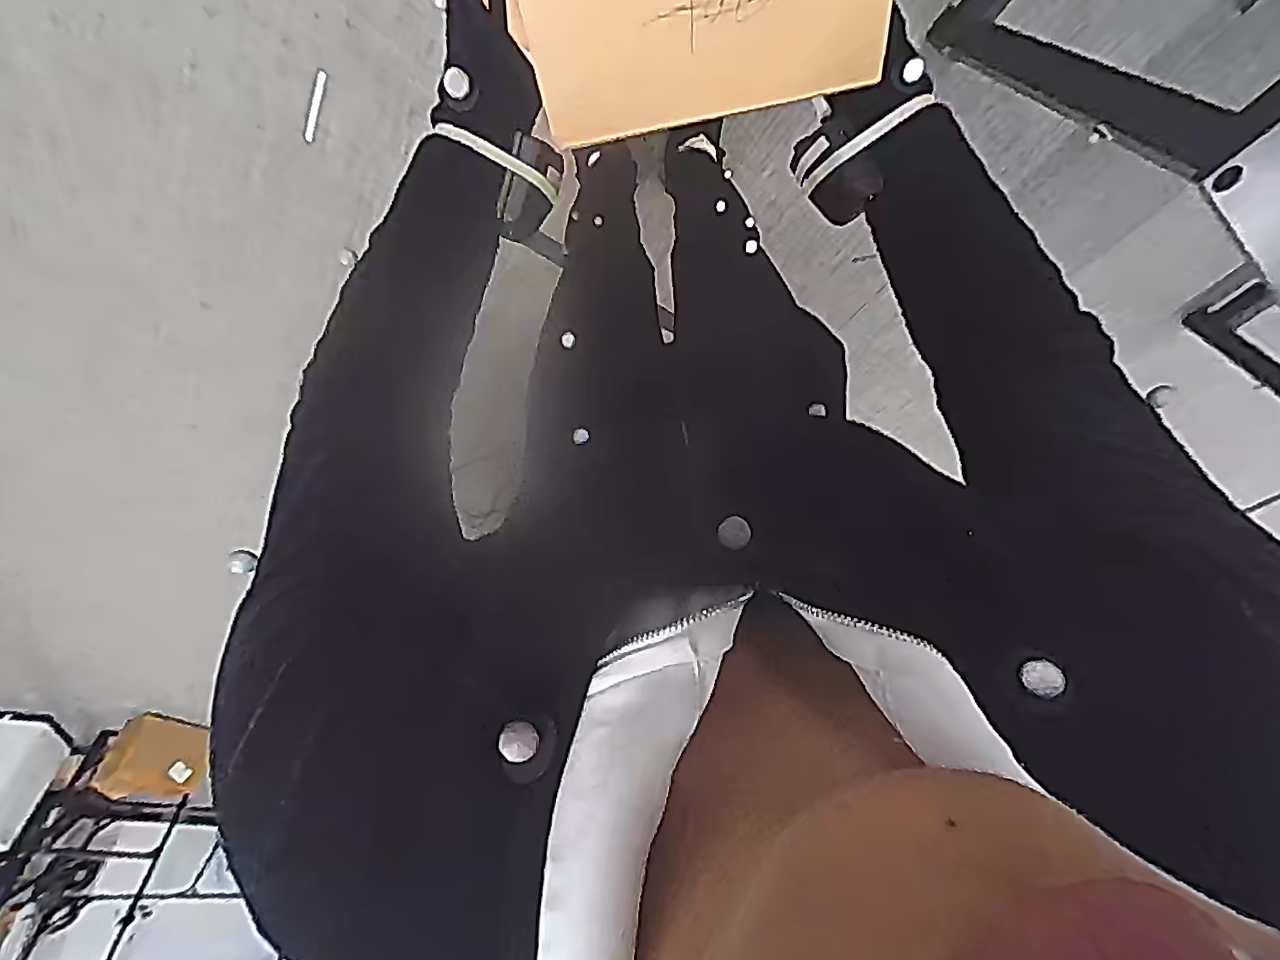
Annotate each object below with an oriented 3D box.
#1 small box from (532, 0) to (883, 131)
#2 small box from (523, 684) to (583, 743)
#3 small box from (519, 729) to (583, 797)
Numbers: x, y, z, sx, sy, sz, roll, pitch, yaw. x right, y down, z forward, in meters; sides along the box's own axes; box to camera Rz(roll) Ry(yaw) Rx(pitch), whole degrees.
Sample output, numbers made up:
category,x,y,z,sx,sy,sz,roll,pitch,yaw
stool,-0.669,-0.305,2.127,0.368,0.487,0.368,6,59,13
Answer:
category,x,y,z,sx,sy,sz,roll,pitch,yaw
small box,0.021,-0.313,0.271,0.168,0.176,0.179,-8,138,6
small box,-0.324,0.882,2.023,0.179,0.176,0.168,17,131,-20
small box,-0.310,0.995,1.903,0.179,0.176,0.168,17,130,-20
